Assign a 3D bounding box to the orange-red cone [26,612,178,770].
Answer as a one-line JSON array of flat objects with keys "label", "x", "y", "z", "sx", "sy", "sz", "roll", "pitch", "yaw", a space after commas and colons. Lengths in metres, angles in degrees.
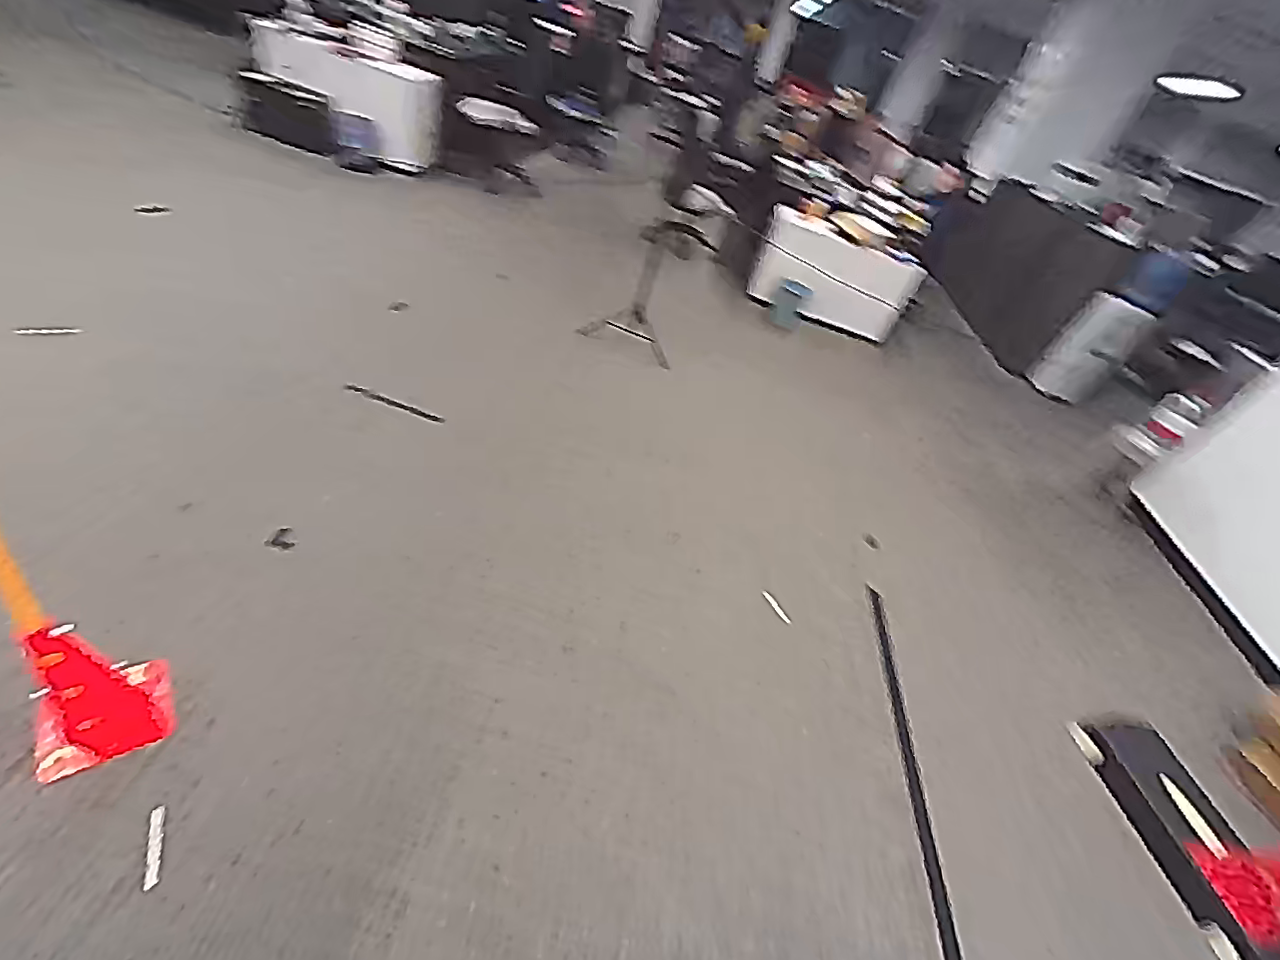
[{"label": "orange-red cone", "x": -1.062, "y": 0.363, "z": 1.031, "sx": 0.198, "sy": 0.360, "sz": 0.199, "roll": -14, "pitch": 53, "yaw": -34}]
